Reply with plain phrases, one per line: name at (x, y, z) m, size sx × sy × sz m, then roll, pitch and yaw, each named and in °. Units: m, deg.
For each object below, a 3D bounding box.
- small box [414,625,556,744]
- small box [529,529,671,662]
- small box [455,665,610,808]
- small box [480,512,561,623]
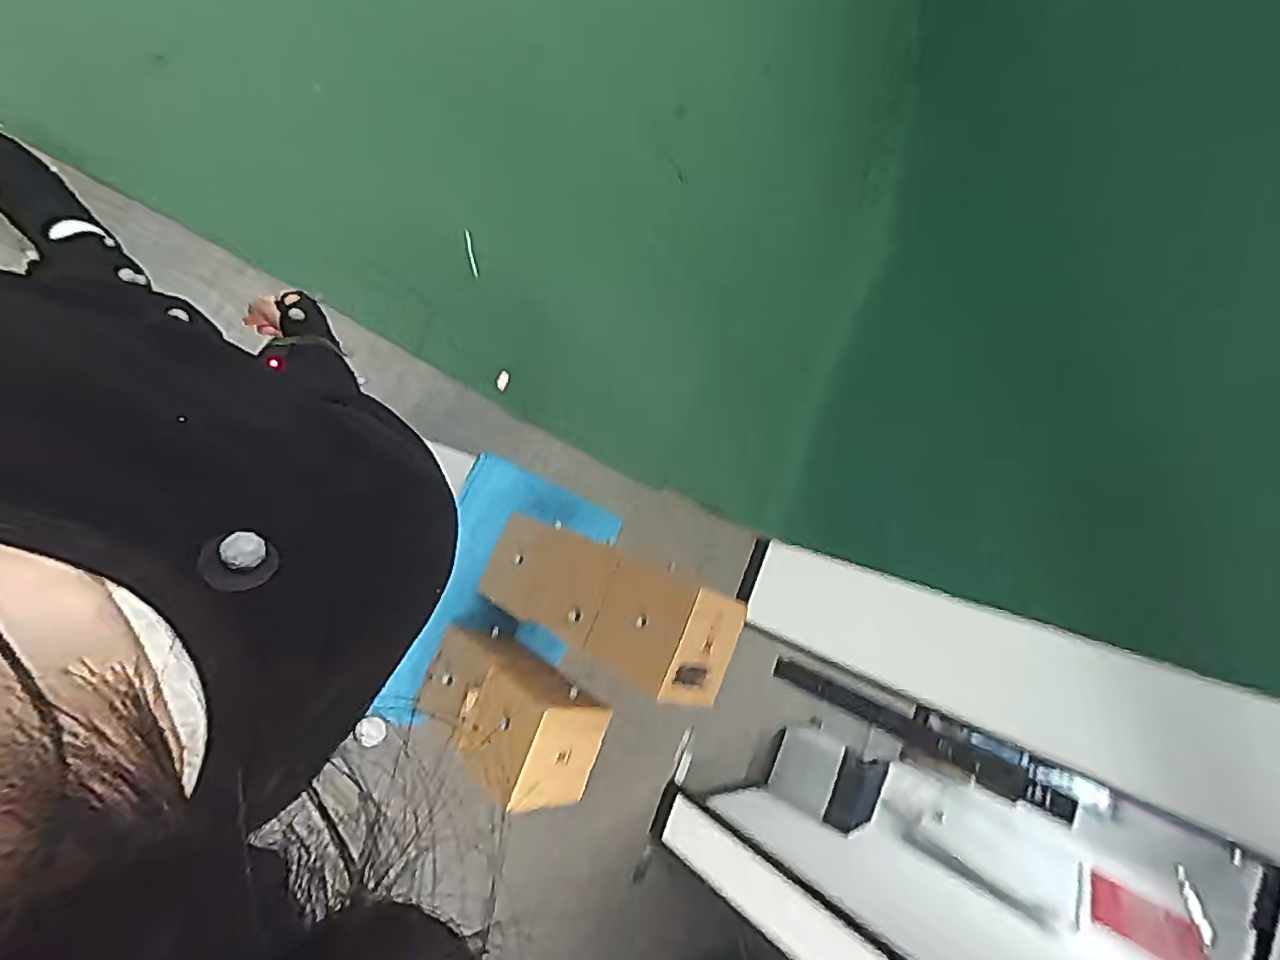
small box at (-0.306, 0.399, 1.060) m, size 0.179 × 0.176 × 0.168 m, roll 32°, pitch 78°, yaw -47°
small box at (-0.079, 0.211, 0.999) m, size 0.168 × 0.176 × 0.179 m, roll 32°, pitch 78°, yaw -48°
small box at (-0.191, 0.441, 0.953) m, size 0.179 × 0.176 × 0.168 m, roll 30°, pitch 79°, yaw -49°
small box at (-0.200, 0.185, 1.108) m, size 0.168 × 0.176 × 0.179 m, roll 32°, pitch 78°, yaw -48°
